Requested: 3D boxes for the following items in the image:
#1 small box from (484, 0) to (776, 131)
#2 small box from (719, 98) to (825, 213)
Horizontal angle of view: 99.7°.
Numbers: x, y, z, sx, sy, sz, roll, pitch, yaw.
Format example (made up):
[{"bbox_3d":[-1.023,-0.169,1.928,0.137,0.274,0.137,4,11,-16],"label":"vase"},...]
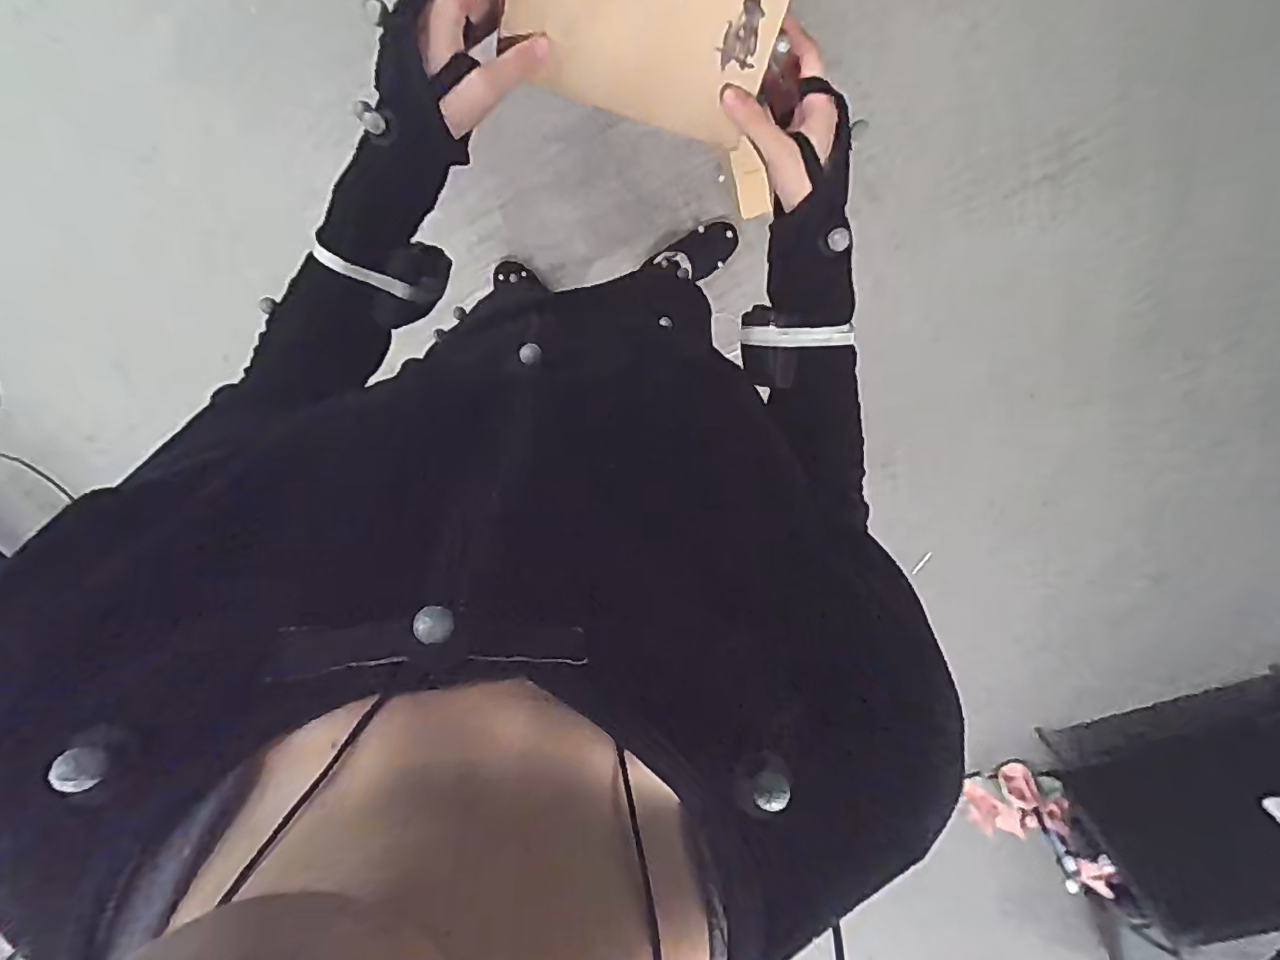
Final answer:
[{"bbox_3d":[0.005,-0.376,0.373,0.179,0.176,0.168,12,133,-11],"label":"small box"},{"bbox_3d":[0.278,-0.689,1.159,0.179,0.176,0.168,-14,116,9],"label":"small box"}]
